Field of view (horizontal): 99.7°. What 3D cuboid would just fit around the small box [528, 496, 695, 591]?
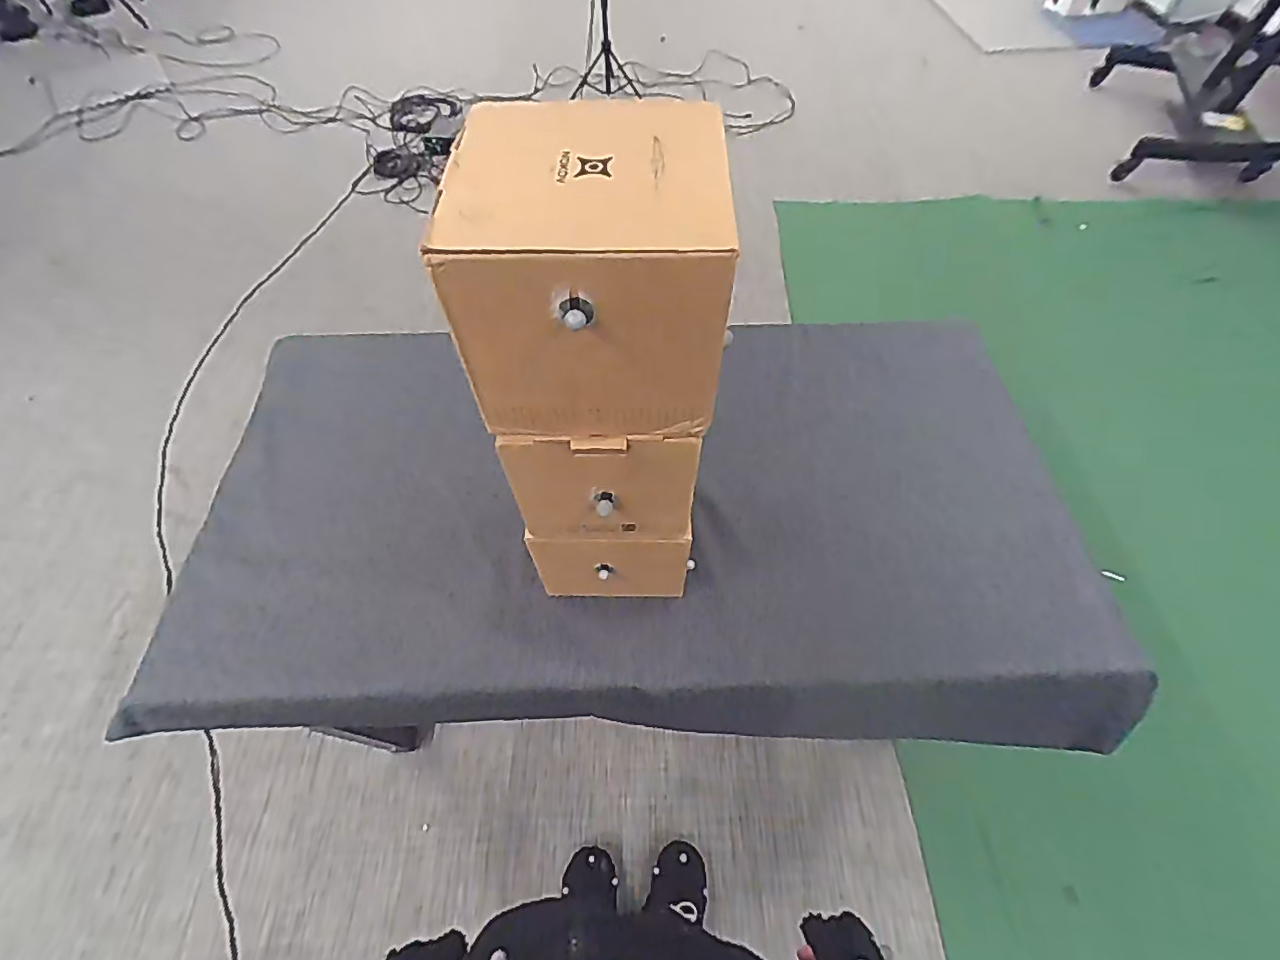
[{"bbox_3d":[-0.028,0.032,0.671,0.179,0.176,0.168,0,58,2],"label":"small box"}]

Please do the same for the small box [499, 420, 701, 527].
[{"bbox_3d":[-0.030,-0.062,0.538,0.168,0.176,0.179,-1,59,0],"label":"small box"}]

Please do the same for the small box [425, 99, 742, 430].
[{"bbox_3d":[-0.029,-0.149,0.400,0.179,0.176,0.168,0,59,0],"label":"small box"}]
